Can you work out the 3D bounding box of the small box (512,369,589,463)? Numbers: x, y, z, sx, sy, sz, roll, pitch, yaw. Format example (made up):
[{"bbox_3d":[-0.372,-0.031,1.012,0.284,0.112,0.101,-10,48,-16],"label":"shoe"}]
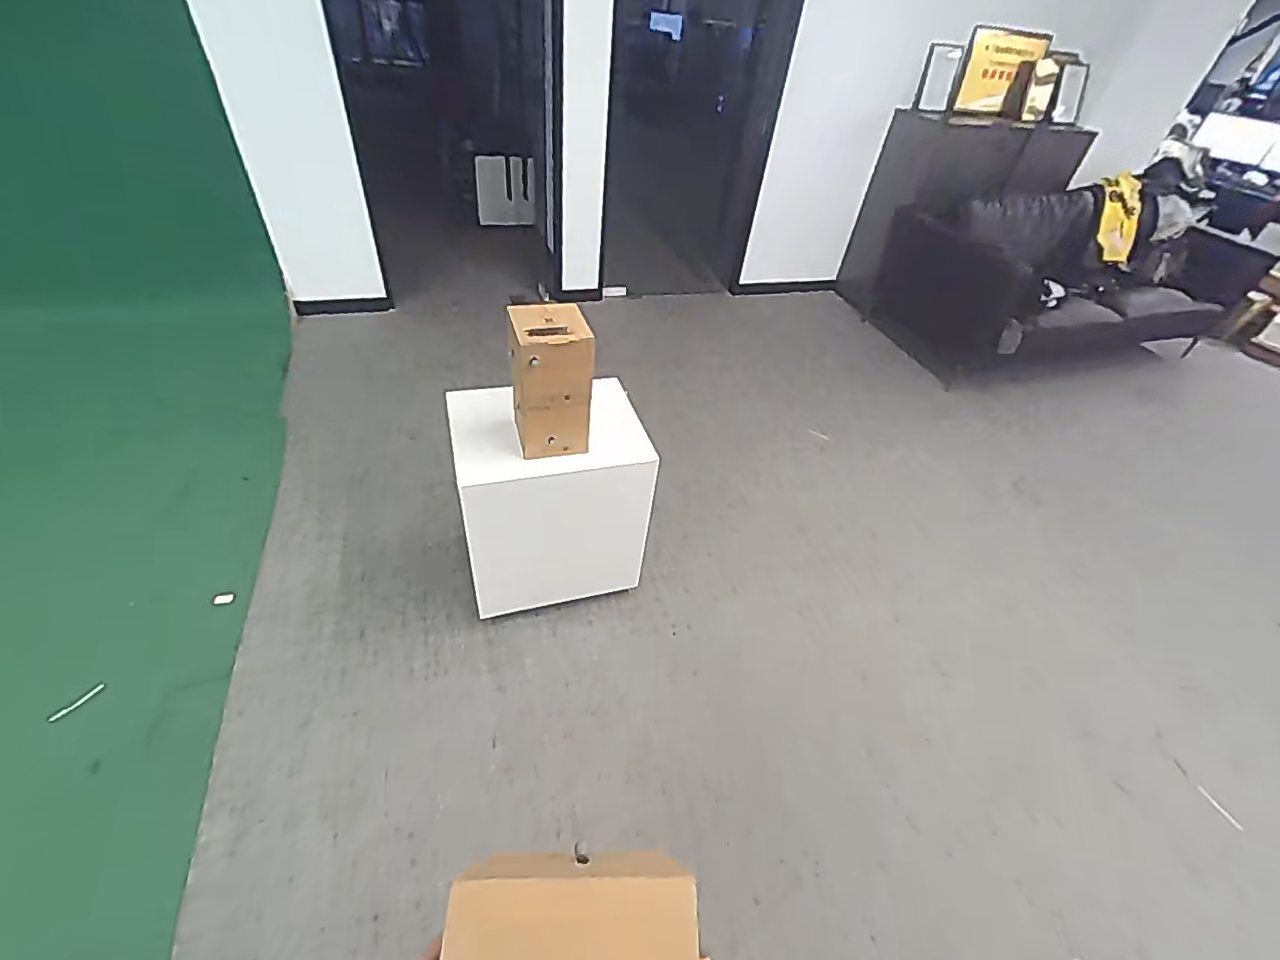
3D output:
[{"bbox_3d":[-0.232,-0.164,1.373,0.168,0.176,0.179,-7,43,-17],"label":"small box"}]
